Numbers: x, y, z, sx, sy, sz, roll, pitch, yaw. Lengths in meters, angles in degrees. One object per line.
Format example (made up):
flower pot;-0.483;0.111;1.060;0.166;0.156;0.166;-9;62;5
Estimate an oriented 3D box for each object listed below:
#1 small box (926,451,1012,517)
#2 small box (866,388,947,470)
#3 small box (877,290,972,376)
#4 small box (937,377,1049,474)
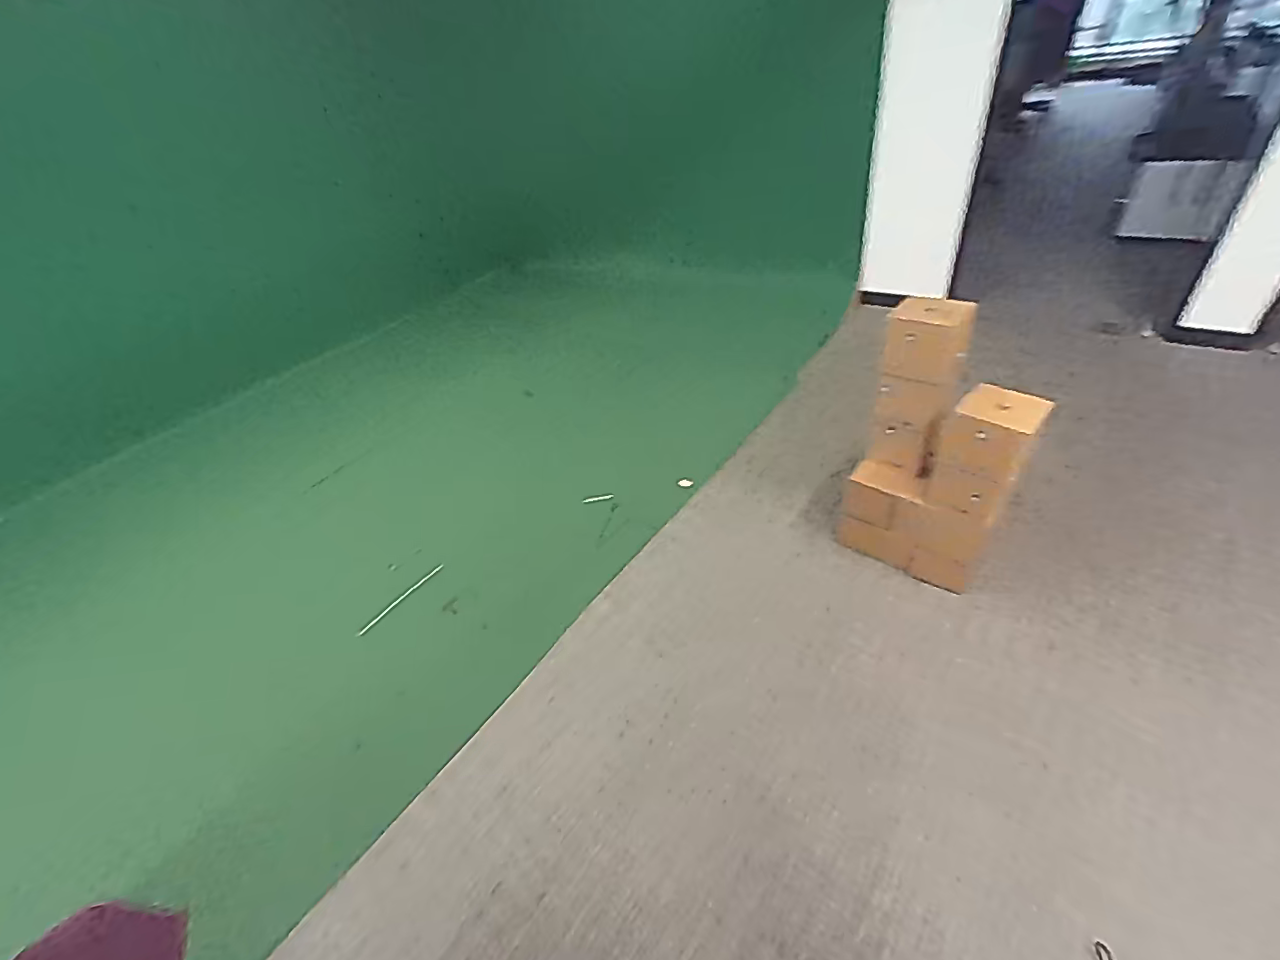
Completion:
small box;0.931;-0.025;1.524;0.168;0.176;0.179;29;53;36
small box;0.833;-0.162;1.707;0.168;0.176;0.179;27;52;37
small box;0.776;-0.405;1.490;0.179;0.176;0.168;25;51;36
small box;0.911;-0.139;1.408;0.179;0.176;0.168;29;54;36
